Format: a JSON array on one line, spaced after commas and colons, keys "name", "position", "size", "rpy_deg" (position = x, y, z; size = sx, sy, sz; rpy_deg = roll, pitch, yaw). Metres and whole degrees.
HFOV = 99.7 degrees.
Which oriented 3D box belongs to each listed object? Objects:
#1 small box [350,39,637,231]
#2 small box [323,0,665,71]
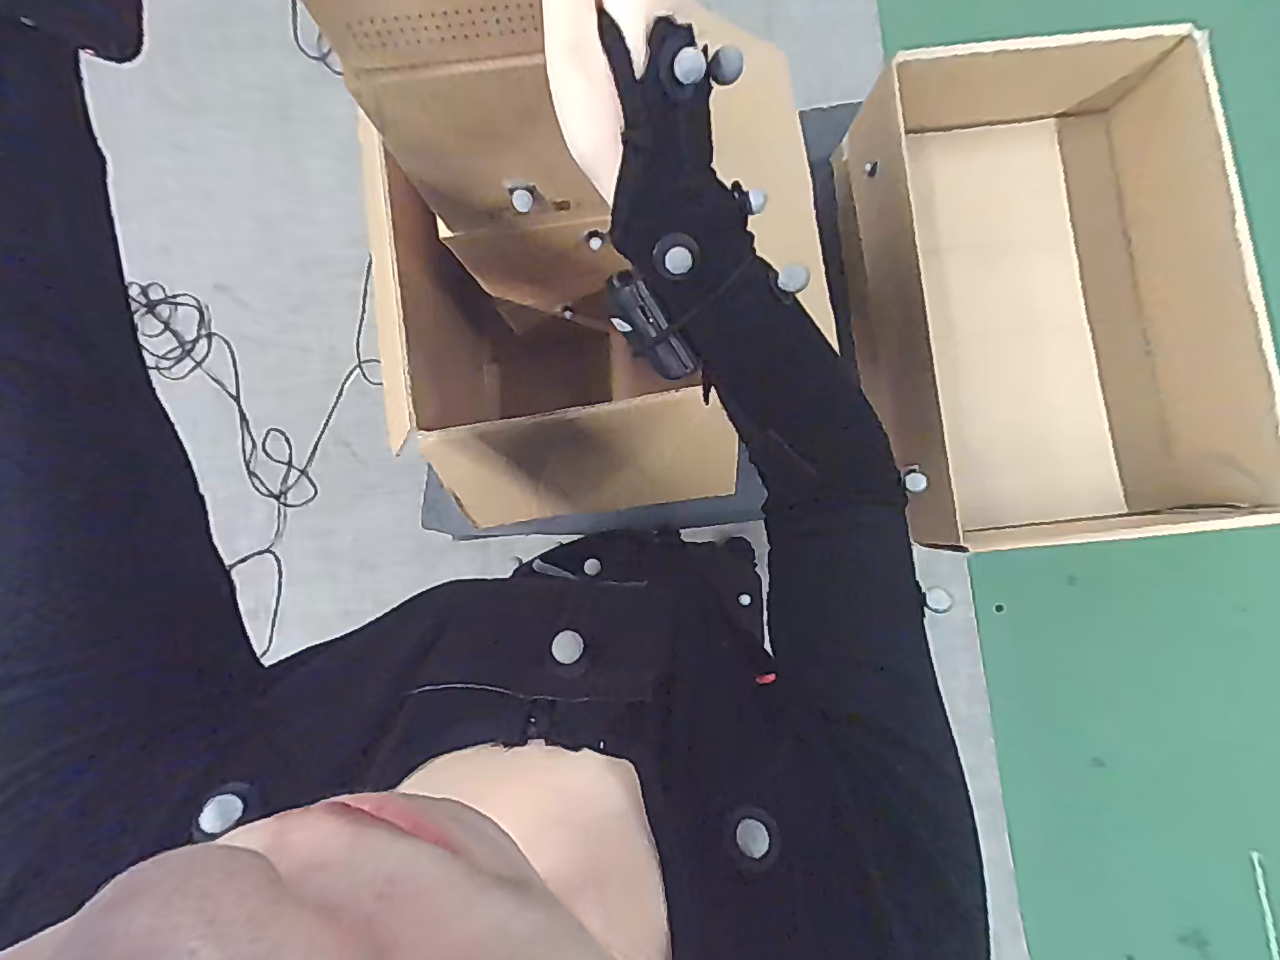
[{"name": "small box", "position": [-0.092, -0.313, 0.396], "size": [0.168, 0.176, 0.179], "rpy_deg": [-6, 89, 0]}, {"name": "small box", "position": [-0.083, -0.320, 0.233], "size": [0.179, 0.176, 0.168], "rpy_deg": [-7, 88, 1]}]
